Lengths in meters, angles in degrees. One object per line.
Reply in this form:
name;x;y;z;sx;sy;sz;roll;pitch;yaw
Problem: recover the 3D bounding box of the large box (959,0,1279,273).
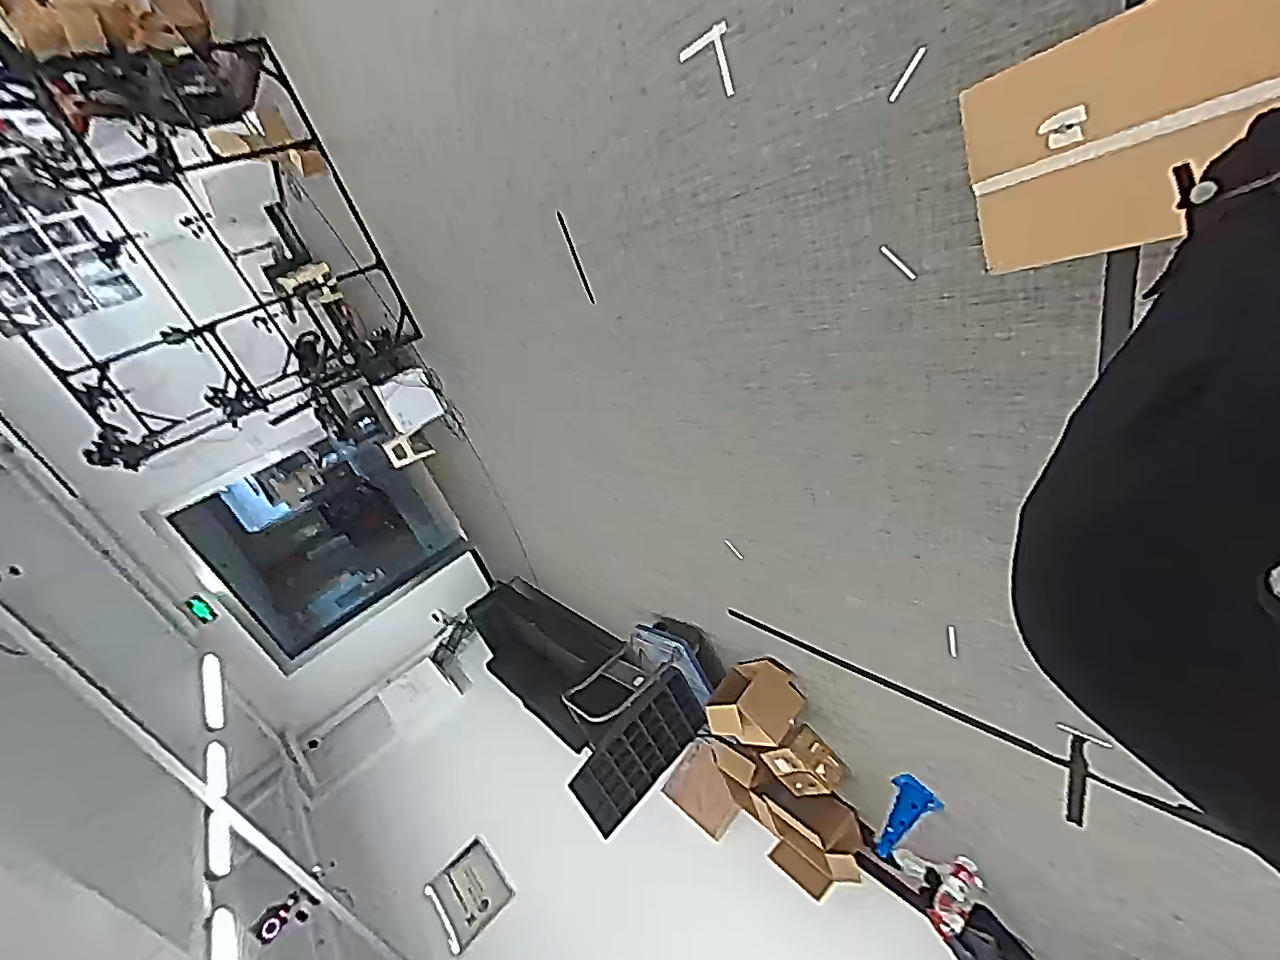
large box;0.808;-0.575;0.853;0.408;0.320;0.320;8;127;55
